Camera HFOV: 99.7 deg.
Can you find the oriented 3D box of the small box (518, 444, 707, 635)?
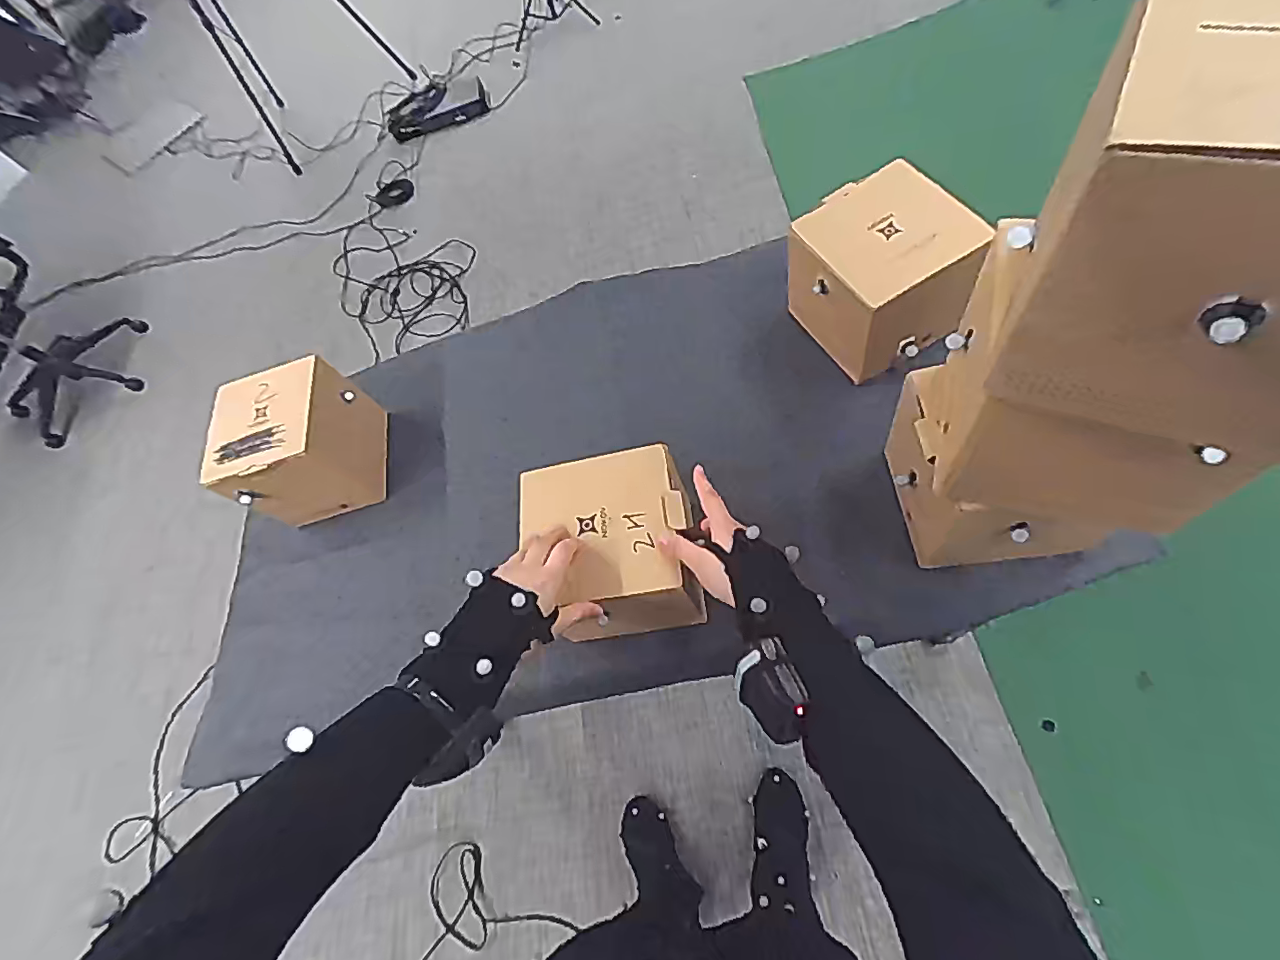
[{"bbox_3d":[-0.027,0.081,0.642,0.179,0.176,0.168,-11,63,11],"label":"small box"}]

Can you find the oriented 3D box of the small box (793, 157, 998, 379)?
[{"bbox_3d":[0.316,-0.269,0.712,0.168,0.176,0.179,-30,64,3],"label":"small box"}]

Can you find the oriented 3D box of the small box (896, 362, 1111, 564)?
[{"bbox_3d":[0.386,-0.018,0.575,0.179,0.176,0.168,-9,61,12],"label":"small box"}]

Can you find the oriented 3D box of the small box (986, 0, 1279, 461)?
[{"bbox_3d":[0.314,-0.130,0.272,0.179,0.176,0.168,21,70,24],"label":"small box"}]

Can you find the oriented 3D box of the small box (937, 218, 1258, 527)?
[{"bbox_3d":[0.352,-0.078,0.426,0.179,0.176,0.168,11,66,20],"label":"small box"}]
